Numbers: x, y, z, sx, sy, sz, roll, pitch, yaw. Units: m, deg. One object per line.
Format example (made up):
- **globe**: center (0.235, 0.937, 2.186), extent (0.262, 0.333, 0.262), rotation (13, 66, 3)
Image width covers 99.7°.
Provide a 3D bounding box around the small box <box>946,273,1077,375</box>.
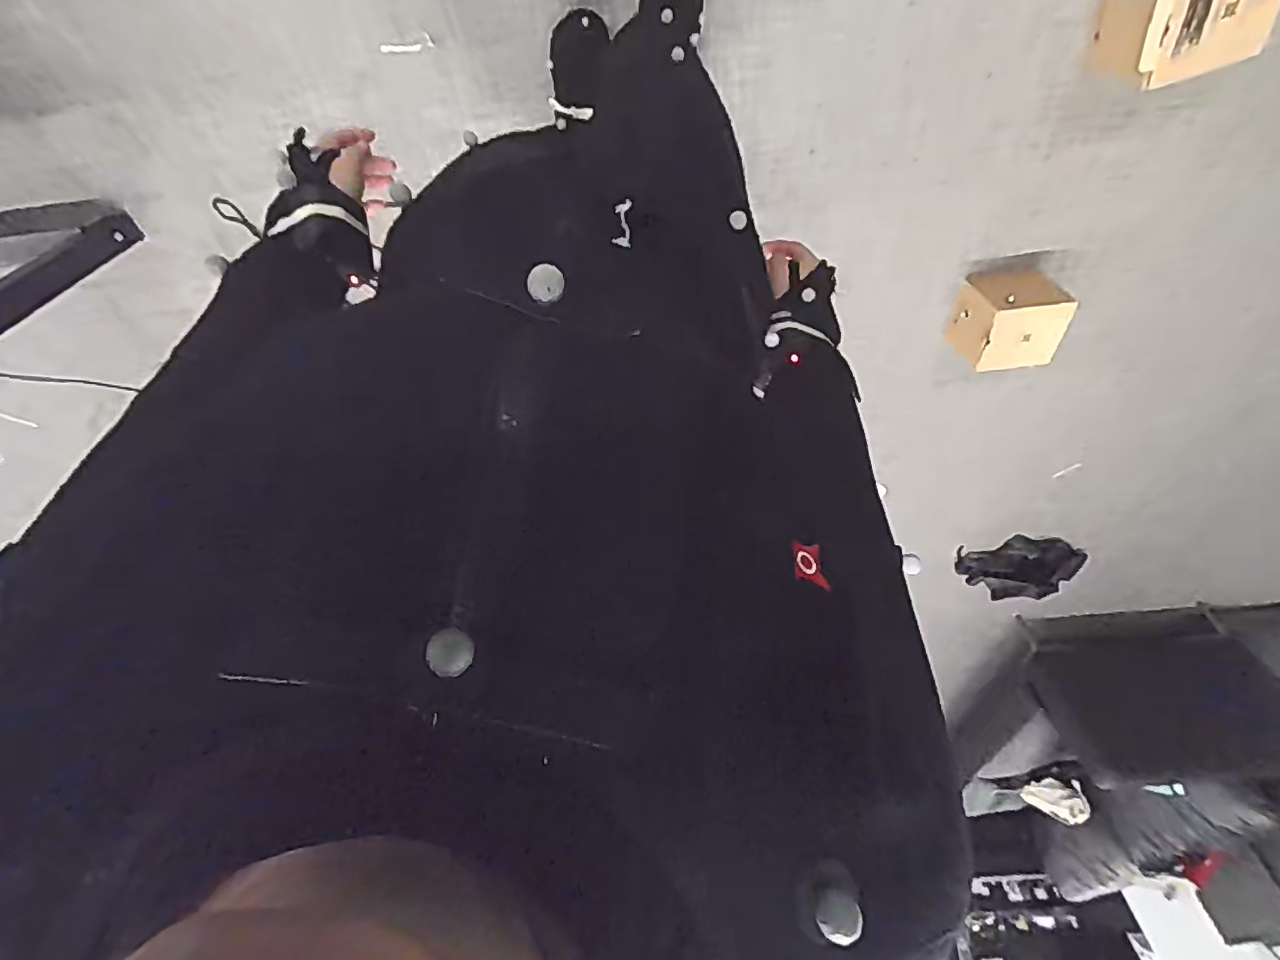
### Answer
- **small box**: center (0.876, -0.377, 1.297), extent (0.179, 0.176, 0.168), rotation (-6, 136, 4)
